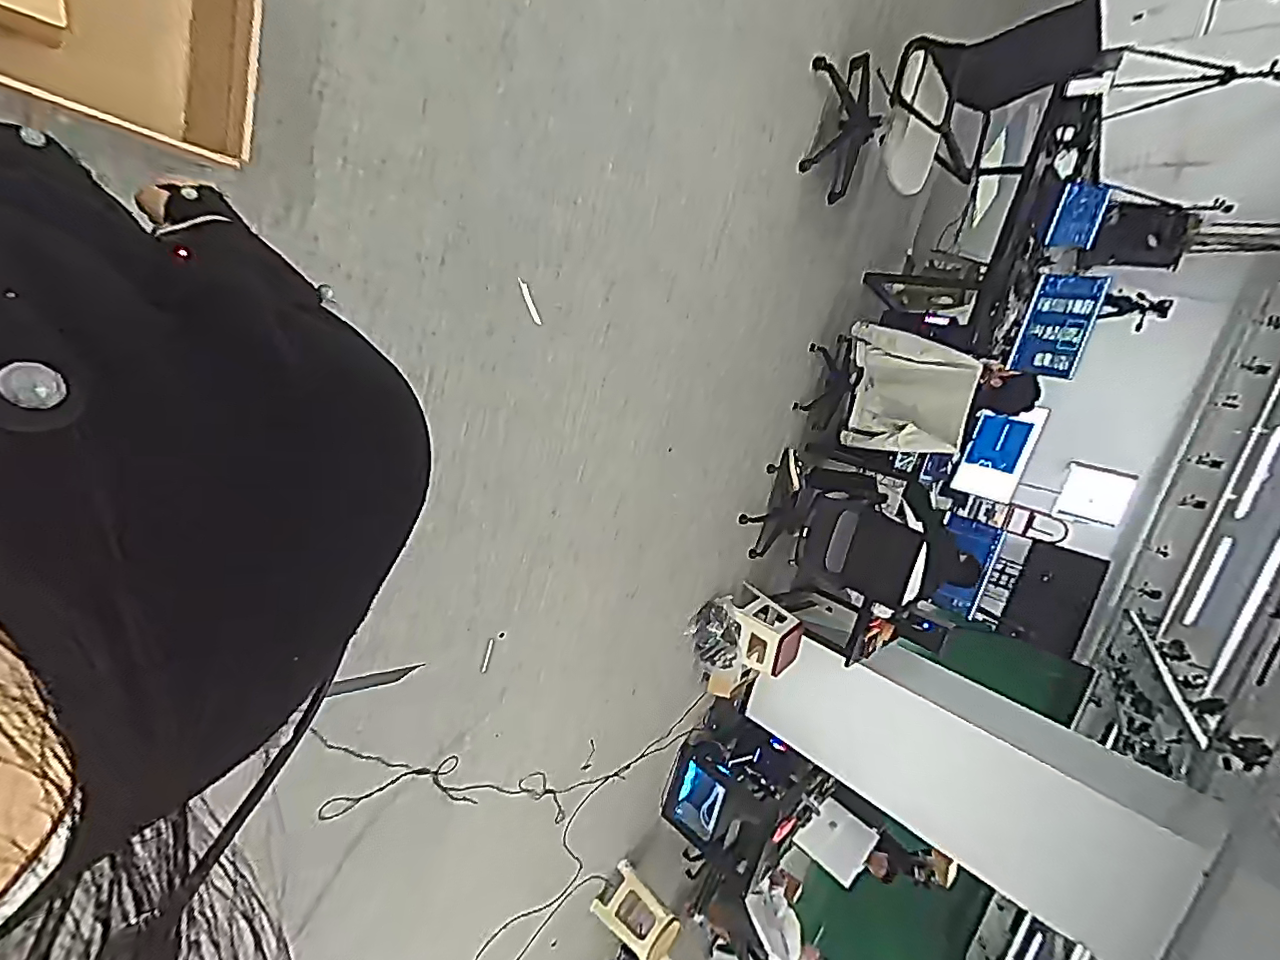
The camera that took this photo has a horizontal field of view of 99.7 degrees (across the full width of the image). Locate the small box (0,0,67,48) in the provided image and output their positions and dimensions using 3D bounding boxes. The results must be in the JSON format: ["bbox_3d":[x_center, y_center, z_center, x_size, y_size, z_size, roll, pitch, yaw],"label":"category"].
[{"bbox_3d":[-0.944,-0.762,0.765,0.168,0.176,0.179,-7,114,-47],"label":"small box"}]
